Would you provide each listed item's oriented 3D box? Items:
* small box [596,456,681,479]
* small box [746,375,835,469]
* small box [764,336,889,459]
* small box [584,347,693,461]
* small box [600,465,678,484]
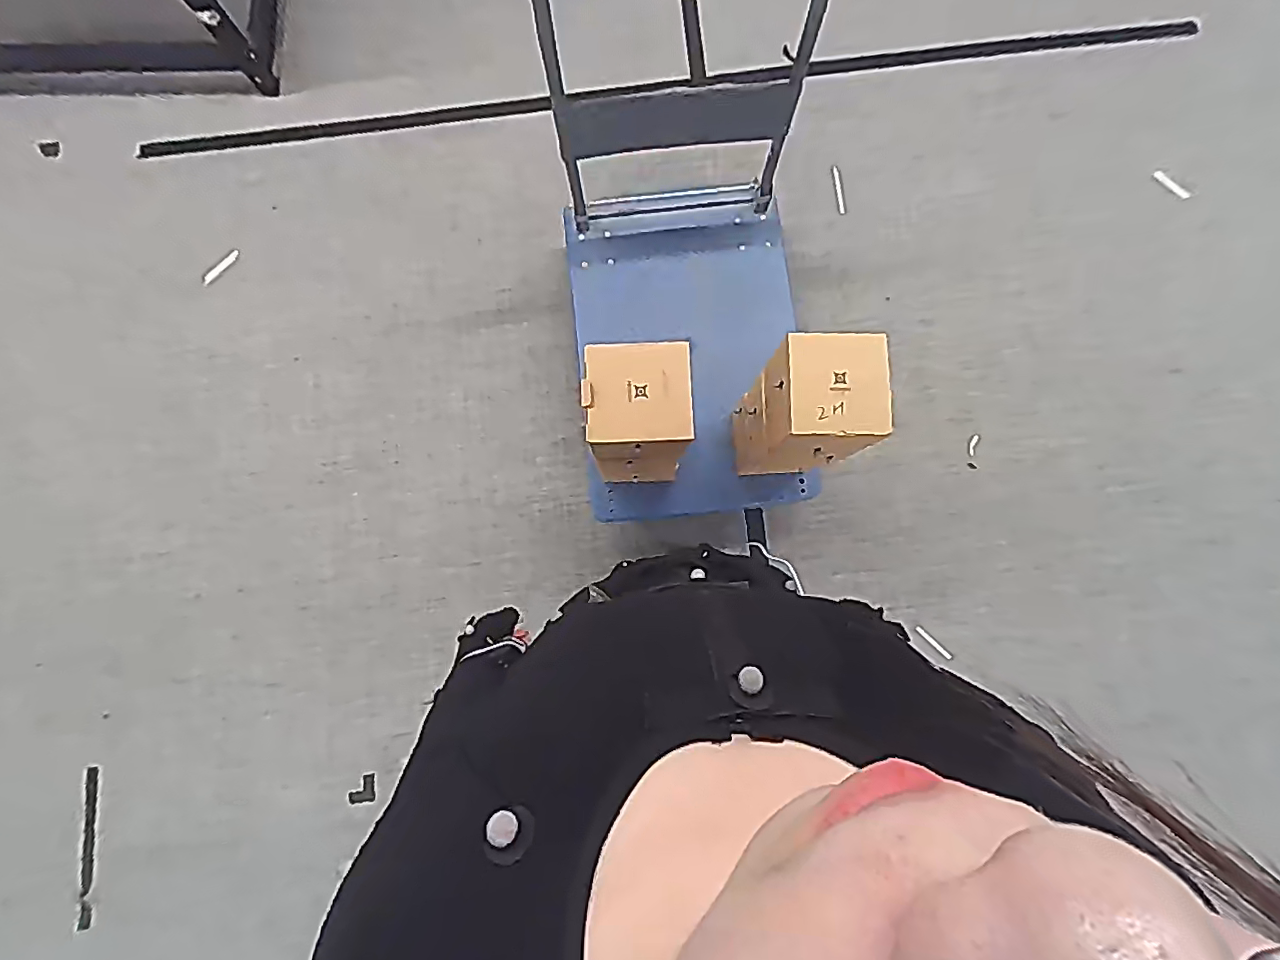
[{"bbox_3d":[-0.009,-0.106,1.125,0.168,0.176,0.179,-5,81,0],"label":"small box"},{"bbox_3d":[0.321,-0.115,1.128,0.179,0.176,0.168,-1,82,-1],"label":"small box"},{"bbox_3d":[0.322,-0.141,0.965,0.168,0.176,0.179,1,82,0],"label":"small box"},{"bbox_3d":[-0.003,-0.127,0.962,0.179,0.176,0.168,-2,83,-1],"label":"small box"},{"bbox_3d":[-0.005,-0.082,1.287,0.179,0.176,0.168,-2,82,0],"label":"small box"}]
